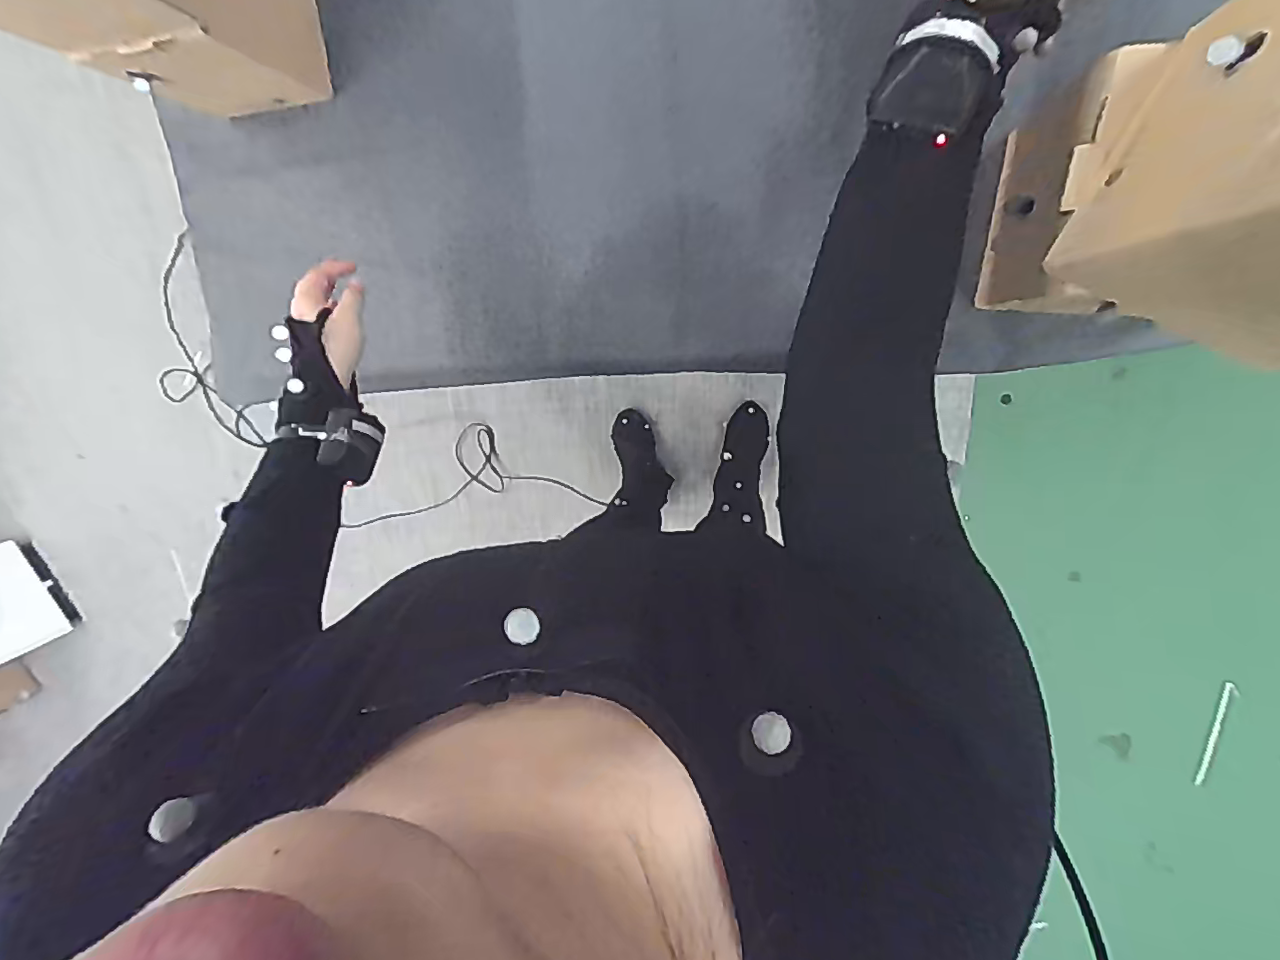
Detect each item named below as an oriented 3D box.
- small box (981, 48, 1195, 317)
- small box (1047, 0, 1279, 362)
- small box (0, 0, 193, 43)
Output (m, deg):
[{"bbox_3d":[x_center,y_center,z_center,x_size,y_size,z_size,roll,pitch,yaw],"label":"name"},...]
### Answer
[{"bbox_3d":[0.421,-0.227,0.453,0.179,0.176,0.168,7,107,11],"label":"small box"},{"bbox_3d":[0.390,-0.169,0.304,0.179,0.176,0.168,27,108,3],"label":"small box"},{"bbox_3d":[-0.493,-0.463,0.400,0.179,0.176,0.168,1,108,11],"label":"small box"}]
